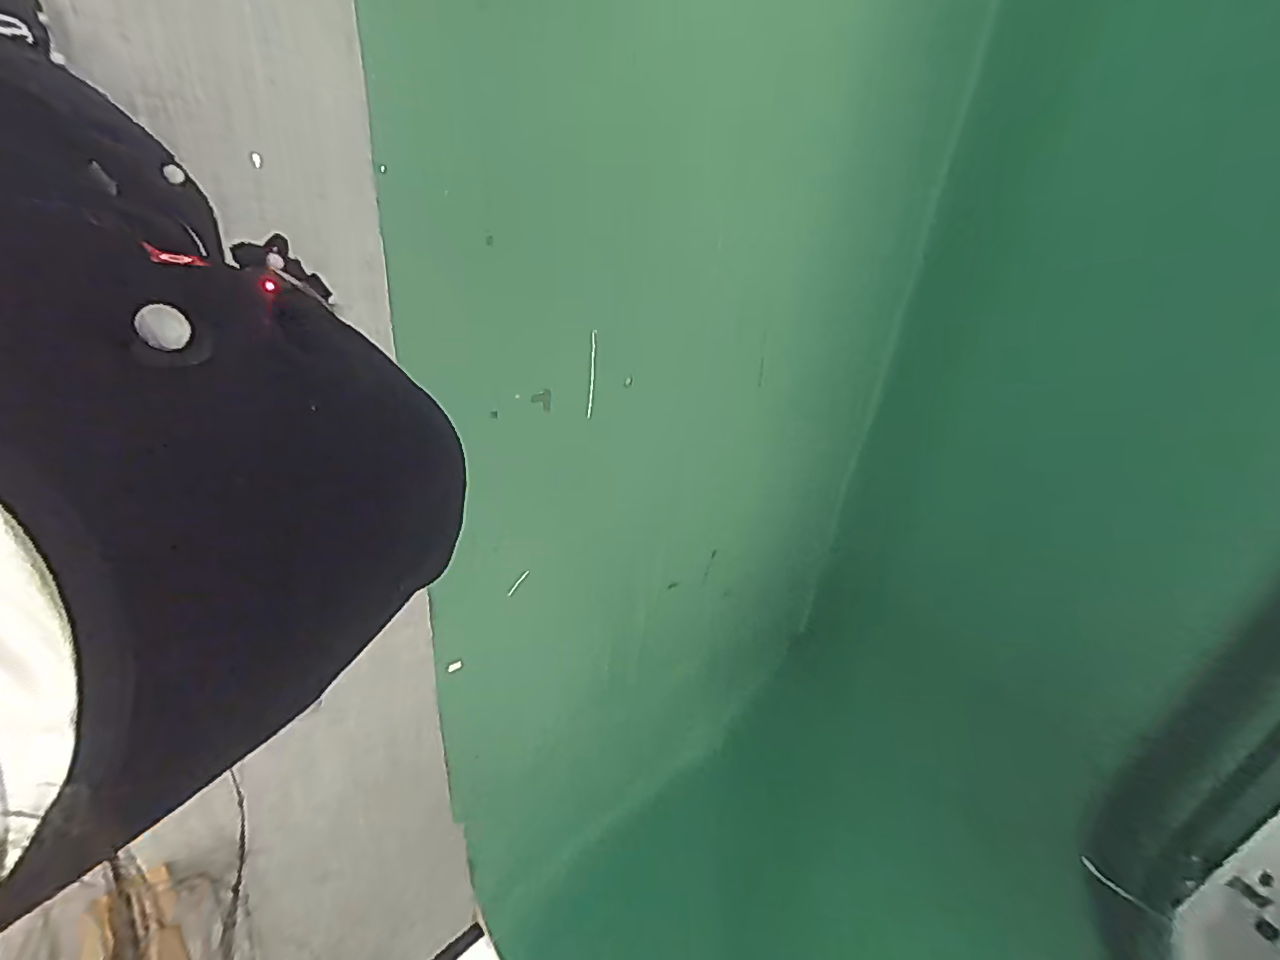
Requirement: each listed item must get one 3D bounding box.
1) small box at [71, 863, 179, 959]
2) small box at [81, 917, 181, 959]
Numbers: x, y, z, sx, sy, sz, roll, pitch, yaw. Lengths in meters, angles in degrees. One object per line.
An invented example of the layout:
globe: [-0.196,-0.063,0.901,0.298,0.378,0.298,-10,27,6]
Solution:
small box: [-1.376,1.184,1.445,0.179,0.176,0.168,-17,125,-40]
small box: [-1.267,1.256,1.349,0.168,0.176,0.179,-20,126,-40]
